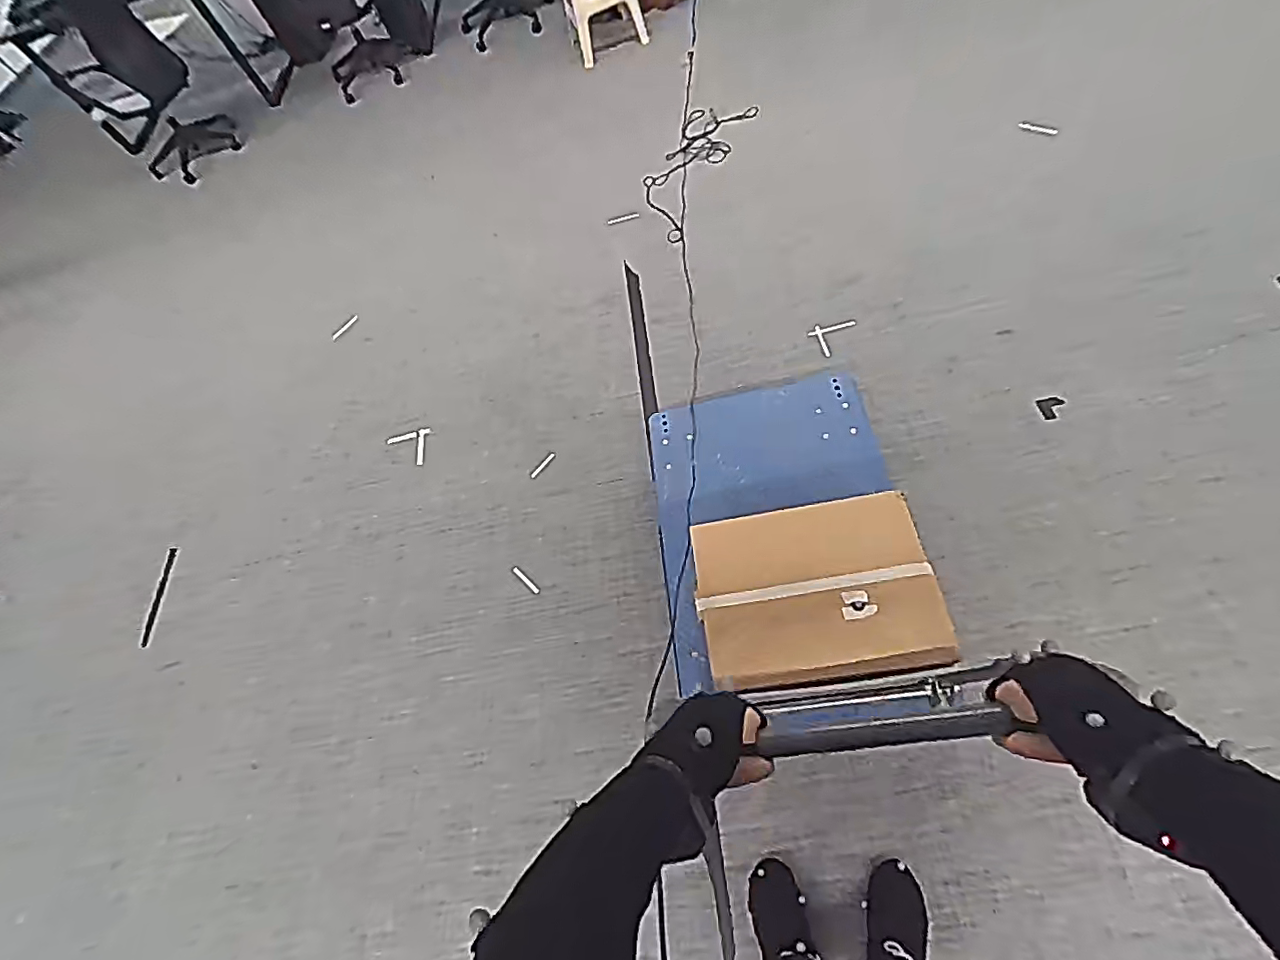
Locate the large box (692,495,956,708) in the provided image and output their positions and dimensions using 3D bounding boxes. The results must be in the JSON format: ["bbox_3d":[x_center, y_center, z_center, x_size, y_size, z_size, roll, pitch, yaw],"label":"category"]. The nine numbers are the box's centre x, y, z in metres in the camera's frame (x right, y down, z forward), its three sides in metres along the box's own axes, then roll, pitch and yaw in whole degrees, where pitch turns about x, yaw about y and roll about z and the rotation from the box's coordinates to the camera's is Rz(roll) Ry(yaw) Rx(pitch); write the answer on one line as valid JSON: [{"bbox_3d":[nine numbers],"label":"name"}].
[{"bbox_3d":[0.342,0.266,1.111,0.408,0.320,0.320,-11,62,8],"label":"large box"}]
